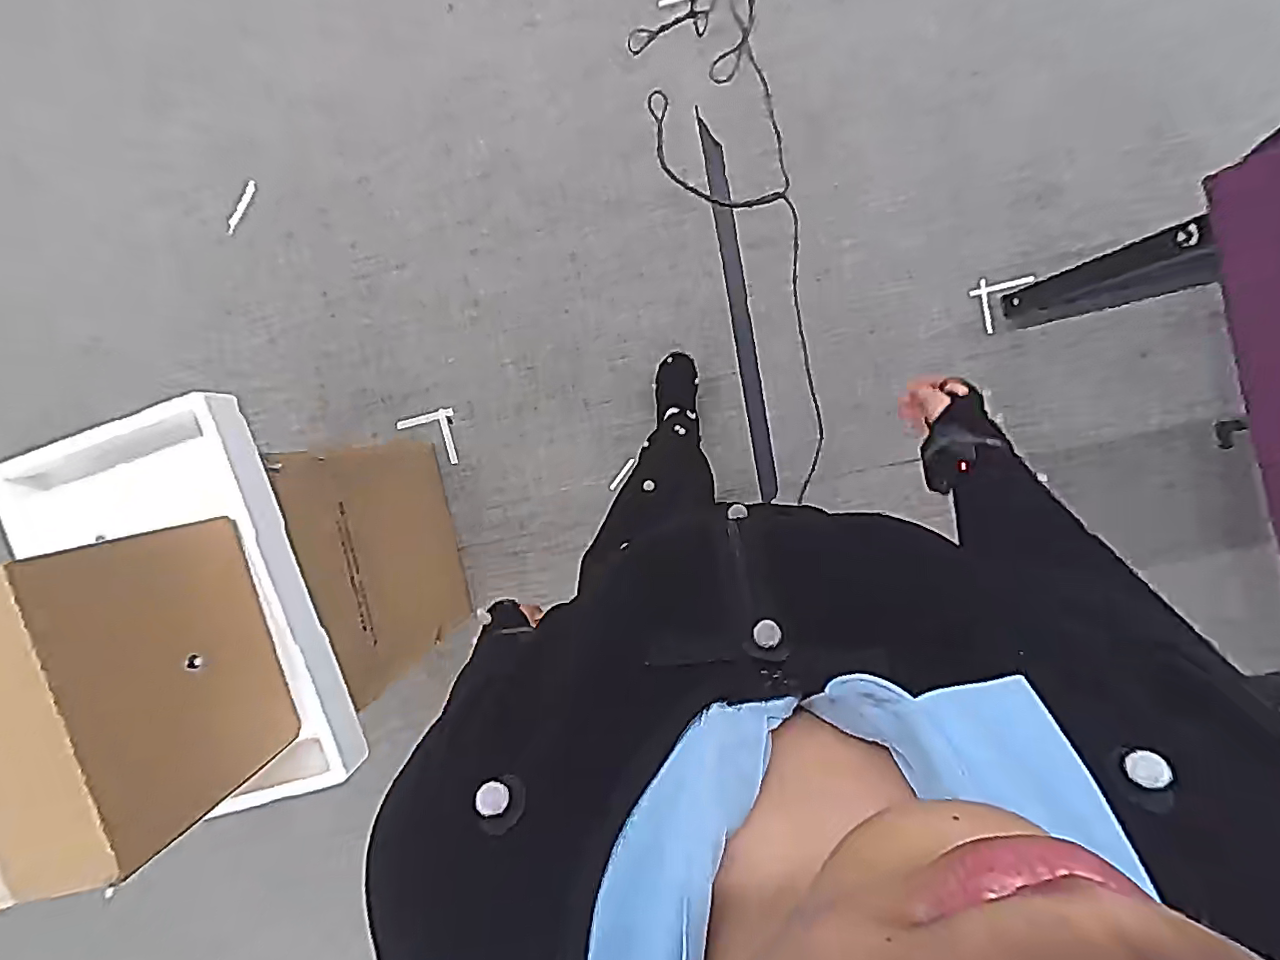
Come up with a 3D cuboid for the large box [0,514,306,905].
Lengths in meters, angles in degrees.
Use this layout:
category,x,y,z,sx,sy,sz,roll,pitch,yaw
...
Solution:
category,x,y,z,sx,sy,sz,roll,pitch,yaw
large box,-0.785,0.301,0.790,0.320,0.320,0.408,-15,96,8
